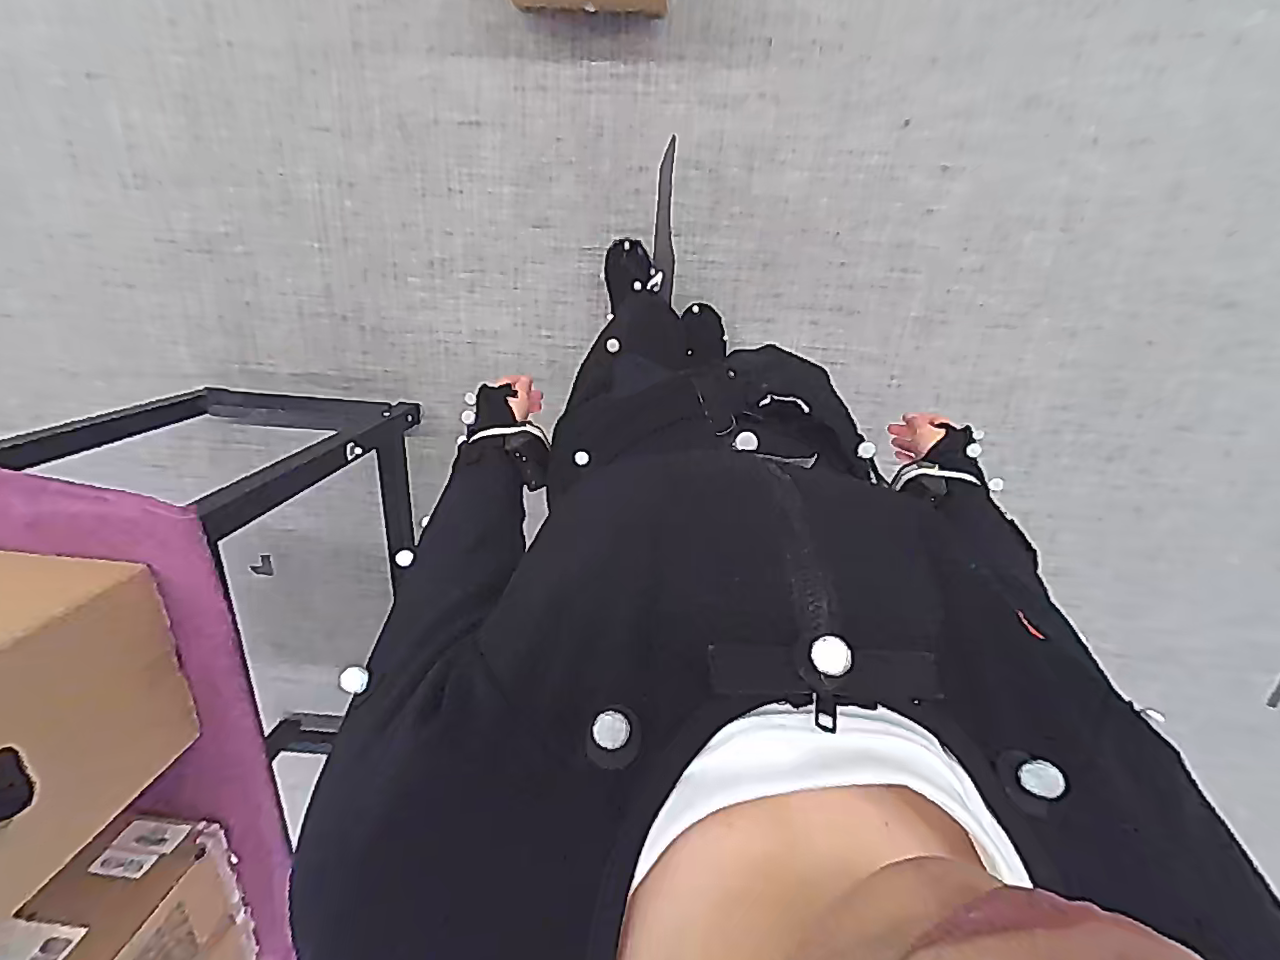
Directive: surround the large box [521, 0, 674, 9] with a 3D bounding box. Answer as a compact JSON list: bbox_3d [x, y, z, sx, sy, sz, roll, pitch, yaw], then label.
[{"bbox_3d":[-0.088,-1.065,0.861,0.320,0.320,0.408,3,112,3],"label":"large box"}]
